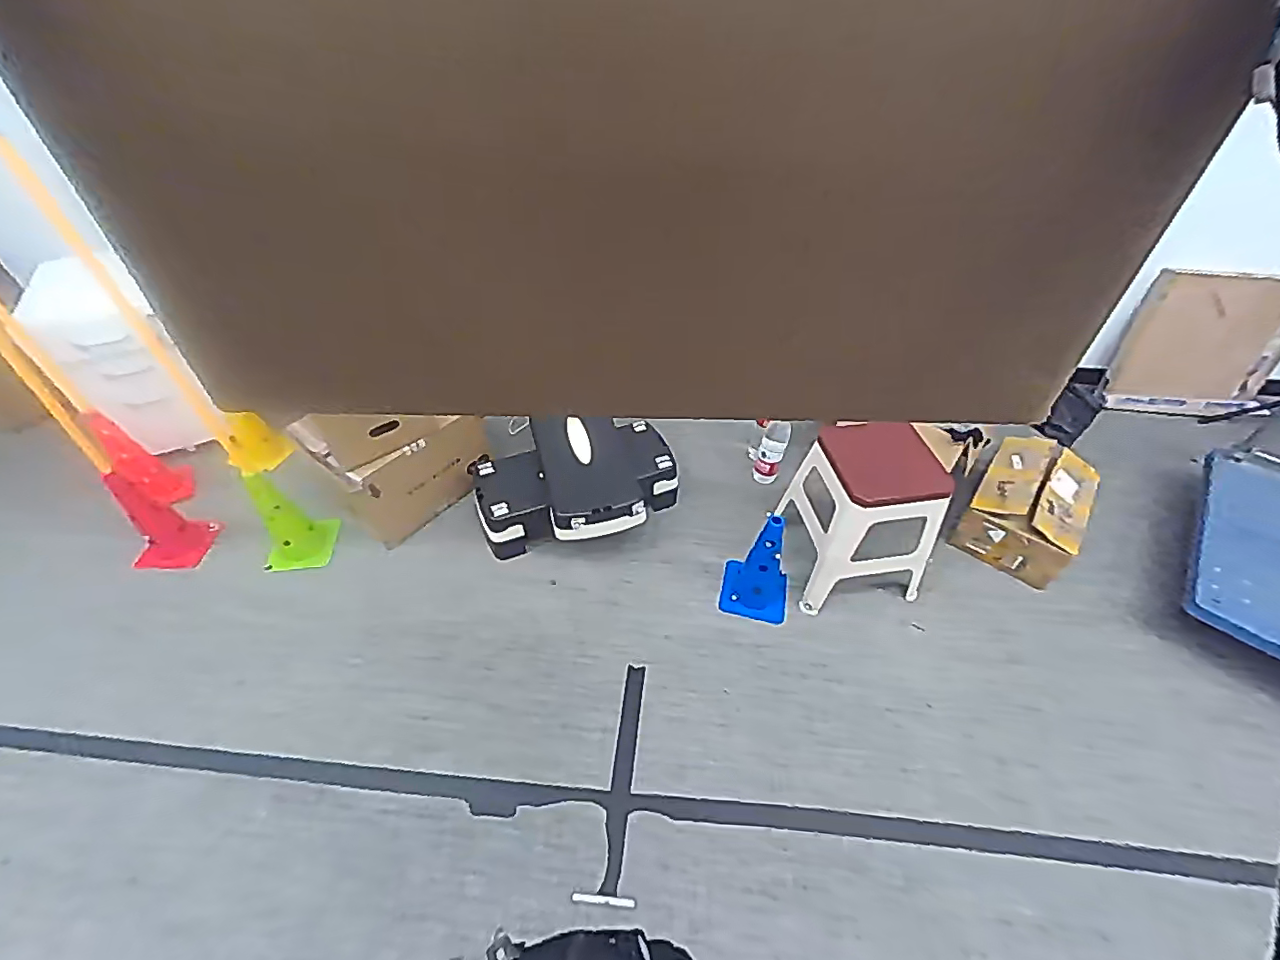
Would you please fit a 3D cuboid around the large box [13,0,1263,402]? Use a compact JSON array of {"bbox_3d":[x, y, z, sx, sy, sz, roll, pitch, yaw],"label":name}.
[{"bbox_3d":[-0.001,-0.251,0.277,0.408,0.320,0.320,2,44,-1],"label":"large box"}]
